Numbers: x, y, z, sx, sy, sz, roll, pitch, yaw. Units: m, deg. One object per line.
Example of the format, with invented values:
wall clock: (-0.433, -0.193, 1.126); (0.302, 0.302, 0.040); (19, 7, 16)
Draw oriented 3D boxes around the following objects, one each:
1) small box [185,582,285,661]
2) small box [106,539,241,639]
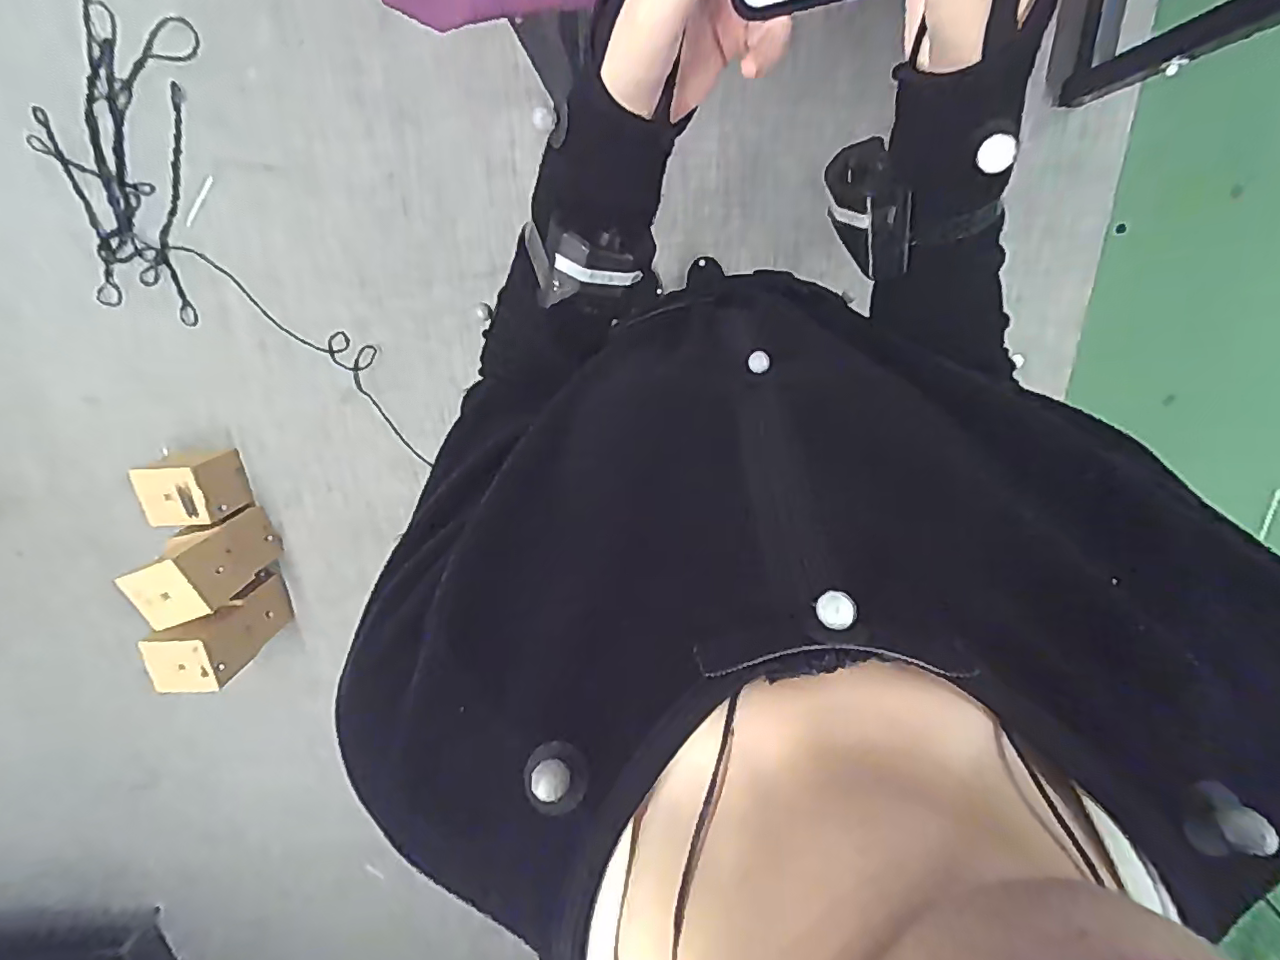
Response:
small box: (-1.212, 0.417, 1.622); (0.168, 0.176, 0.179); (-2, 110, 2)
small box: (-1.188, 0.275, 1.399); (0.179, 0.176, 0.168); (-18, 109, 8)
